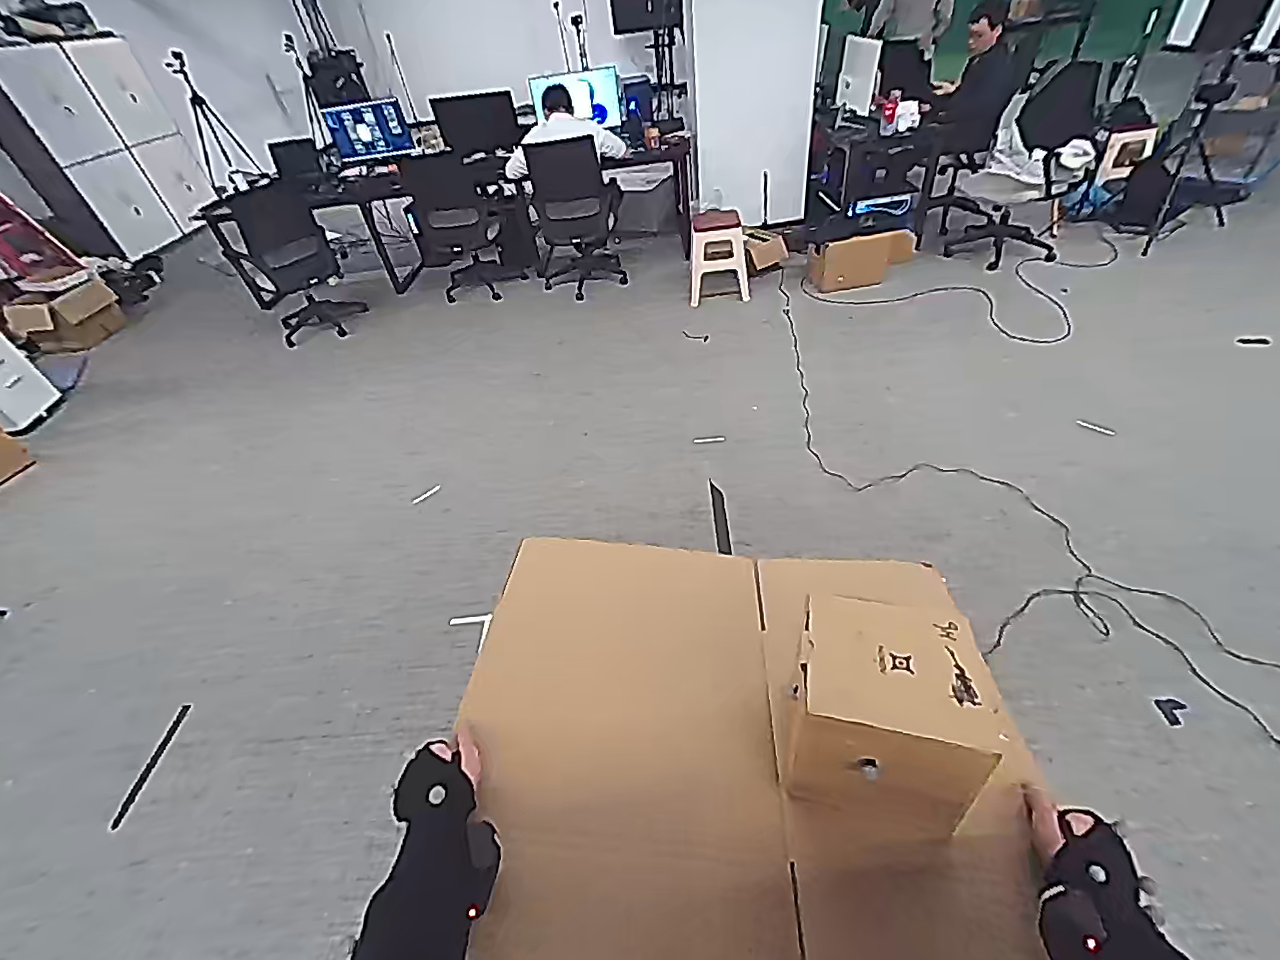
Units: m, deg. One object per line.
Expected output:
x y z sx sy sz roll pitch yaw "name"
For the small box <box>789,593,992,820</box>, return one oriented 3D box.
0.270 0.258 0.625 0.179 0.176 0.168 6 37 15 "small box"
